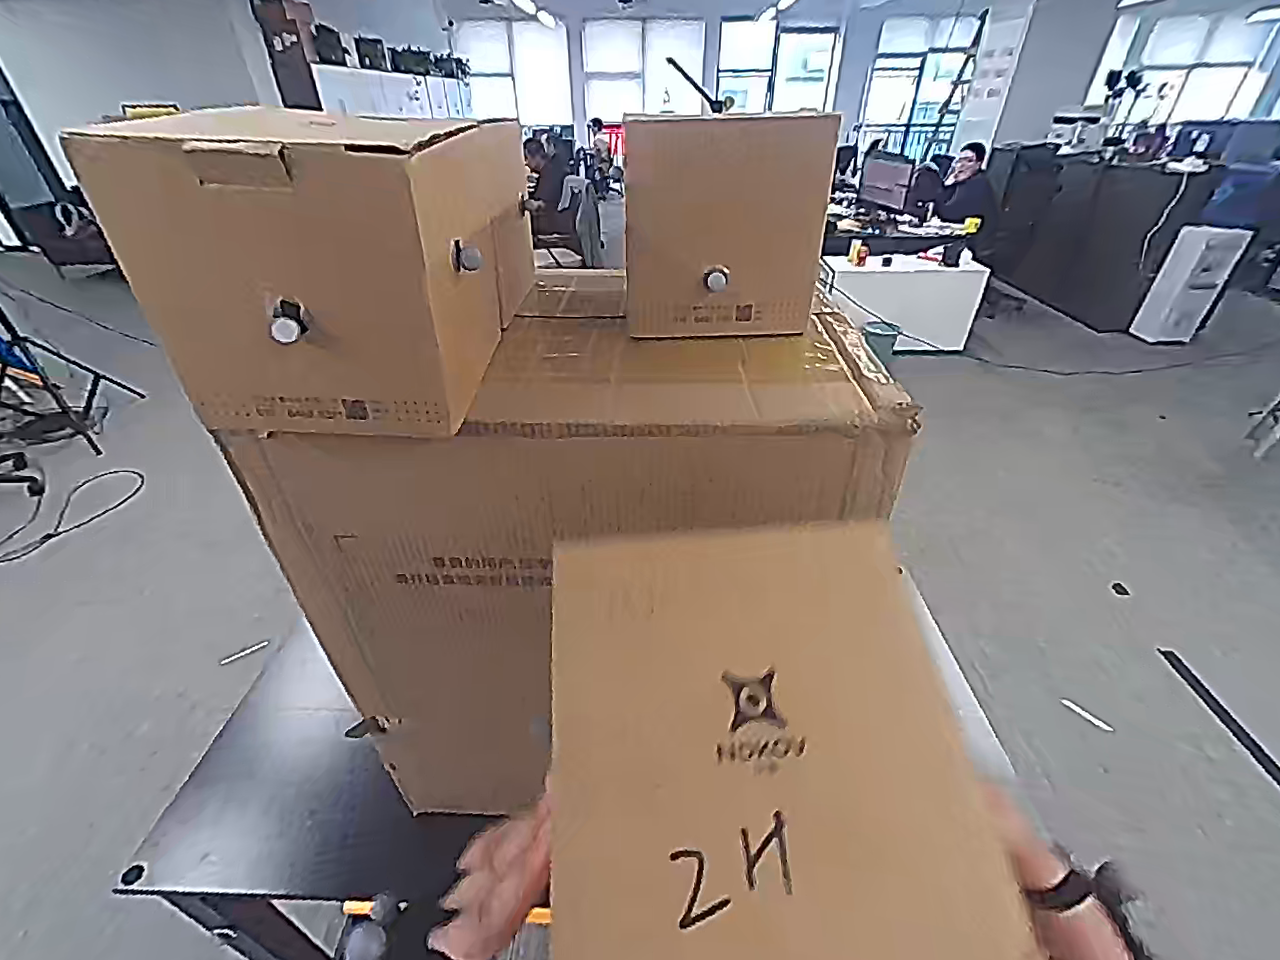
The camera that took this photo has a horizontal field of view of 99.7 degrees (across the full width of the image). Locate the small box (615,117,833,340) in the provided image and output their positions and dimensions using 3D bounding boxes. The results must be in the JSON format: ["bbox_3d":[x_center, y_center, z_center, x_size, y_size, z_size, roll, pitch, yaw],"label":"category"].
[{"bbox_3d":[0.064,-0.241,0.514,0.168,0.176,0.179,-2,34,0],"label":"small box"}]

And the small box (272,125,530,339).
[{"bbox_3d":[-0.210,-0.250,0.537,0.168,0.176,0.179,-1,35,0],"label":"small box"}]
